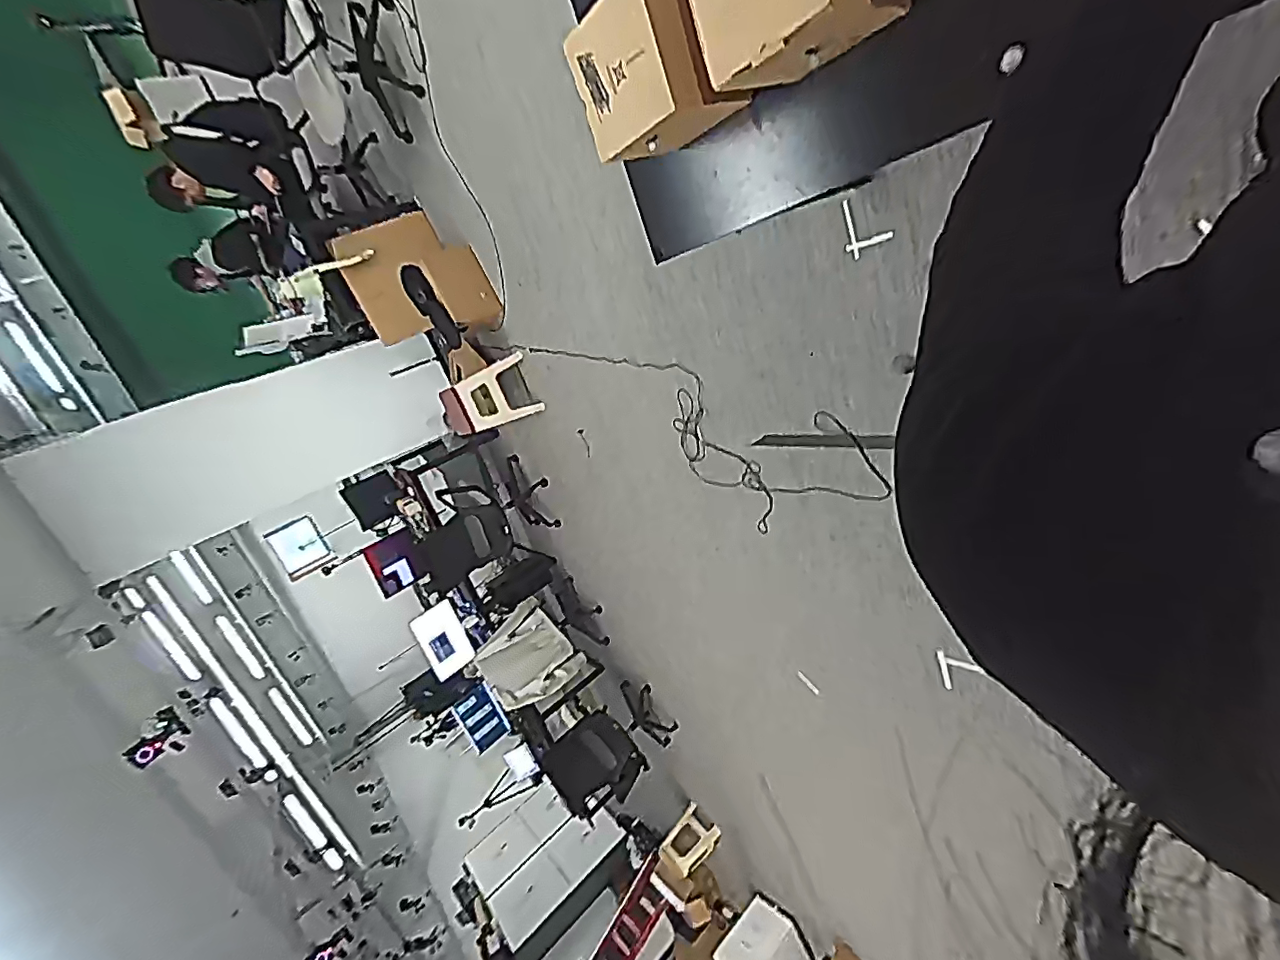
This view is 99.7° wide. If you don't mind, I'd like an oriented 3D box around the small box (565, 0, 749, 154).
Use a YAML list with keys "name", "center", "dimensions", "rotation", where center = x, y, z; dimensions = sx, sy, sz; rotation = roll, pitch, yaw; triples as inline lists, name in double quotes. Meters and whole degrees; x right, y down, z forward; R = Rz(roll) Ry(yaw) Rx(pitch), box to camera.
- name: "small box"
  center: [0.026, -0.602, 0.780]
  dimensions: [0.179, 0.176, 0.168]
  rotation: [5, 122, 52]

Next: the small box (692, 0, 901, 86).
- name: "small box"
  center: [0.169, -0.580, 0.598]
  dimensions: [0.168, 0.176, 0.179]
  rotation: [5, 122, 52]
